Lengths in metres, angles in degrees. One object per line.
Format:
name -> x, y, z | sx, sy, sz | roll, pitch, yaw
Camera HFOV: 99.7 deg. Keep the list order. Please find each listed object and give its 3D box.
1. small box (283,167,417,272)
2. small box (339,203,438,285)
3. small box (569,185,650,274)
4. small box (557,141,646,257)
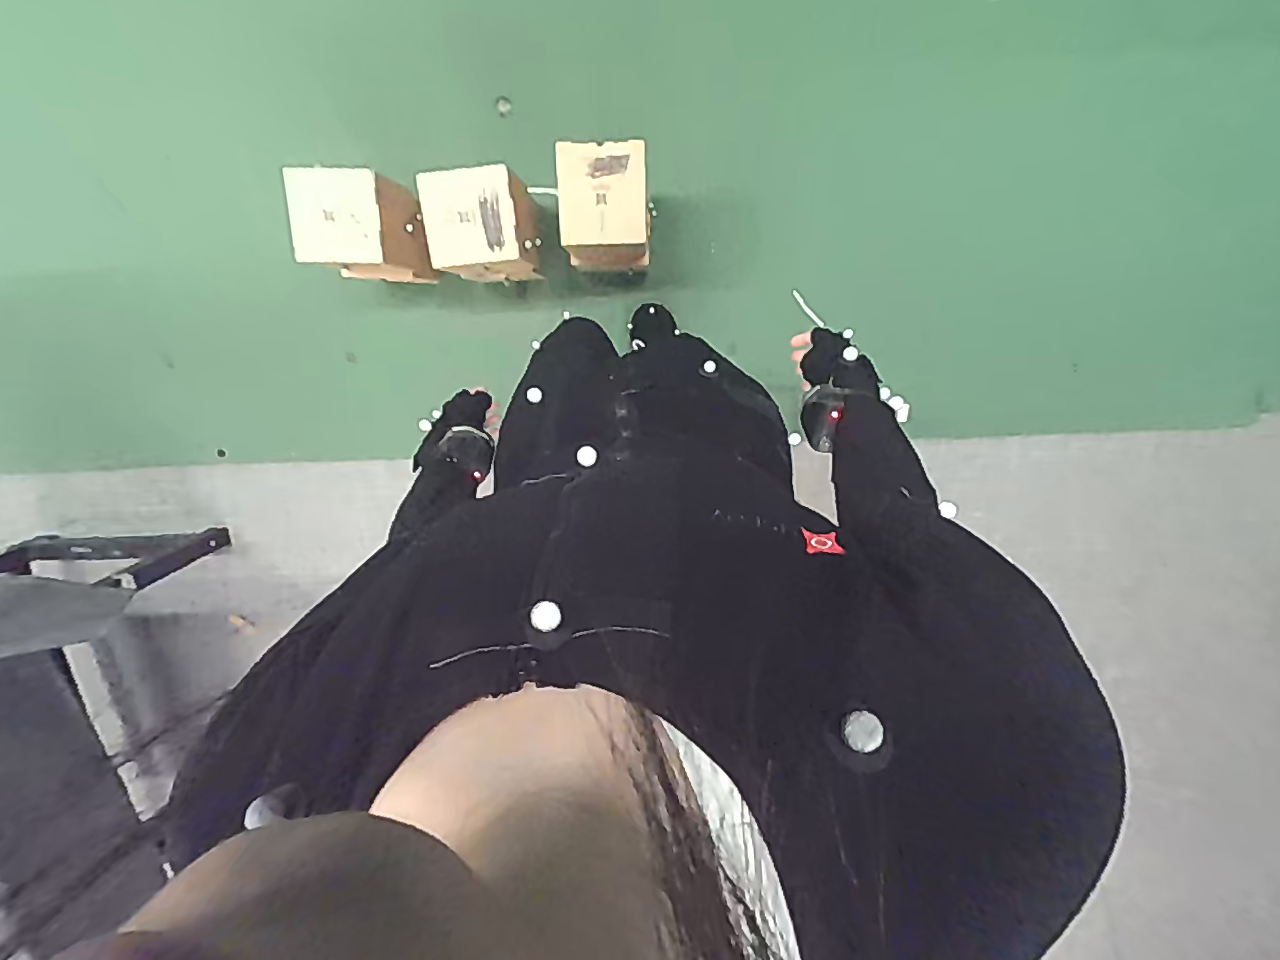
small box -> -0.579, -0.521, 1.100 | 0.179, 0.176, 0.168 | 2, 106, 1
small box -> -0.583, -0.555, 1.262 | 0.168, 0.176, 0.179 | 3, 105, 1
small box -> -0.067, -0.572, 1.243 | 0.179, 0.176, 0.168 | 1, 105, 1
small box -> -0.071, -0.552, 1.080 | 0.168, 0.176, 0.179 | 0, 105, 1
